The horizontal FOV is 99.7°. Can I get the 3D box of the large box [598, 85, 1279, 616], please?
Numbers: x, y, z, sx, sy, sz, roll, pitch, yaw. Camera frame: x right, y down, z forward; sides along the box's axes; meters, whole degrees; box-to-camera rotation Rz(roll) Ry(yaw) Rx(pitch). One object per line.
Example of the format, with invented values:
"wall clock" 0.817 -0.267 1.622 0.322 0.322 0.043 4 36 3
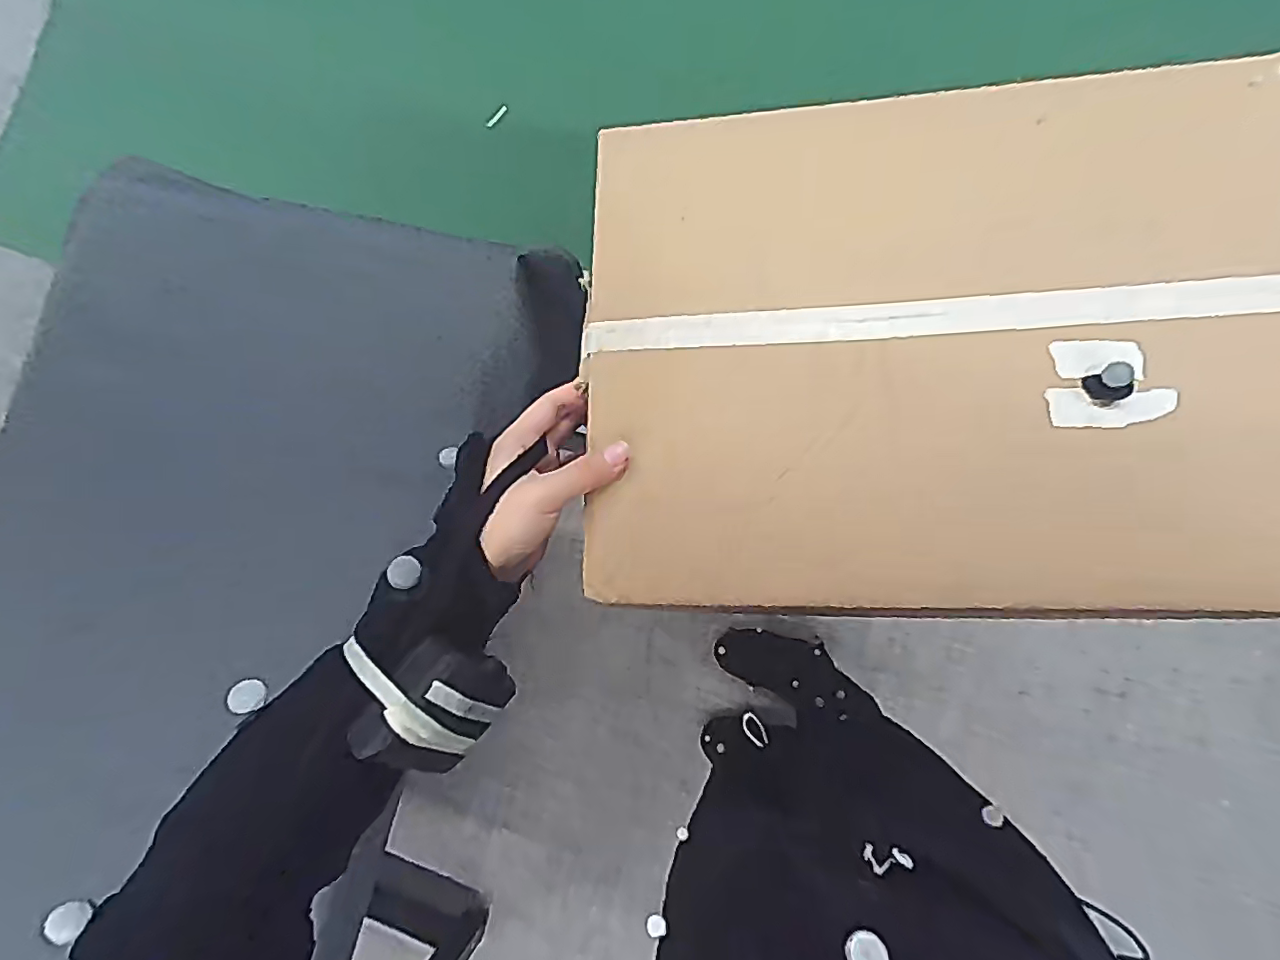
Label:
"large box" 0.189 -0.051 0.460 0.408 0.320 0.320 -2 75 7
